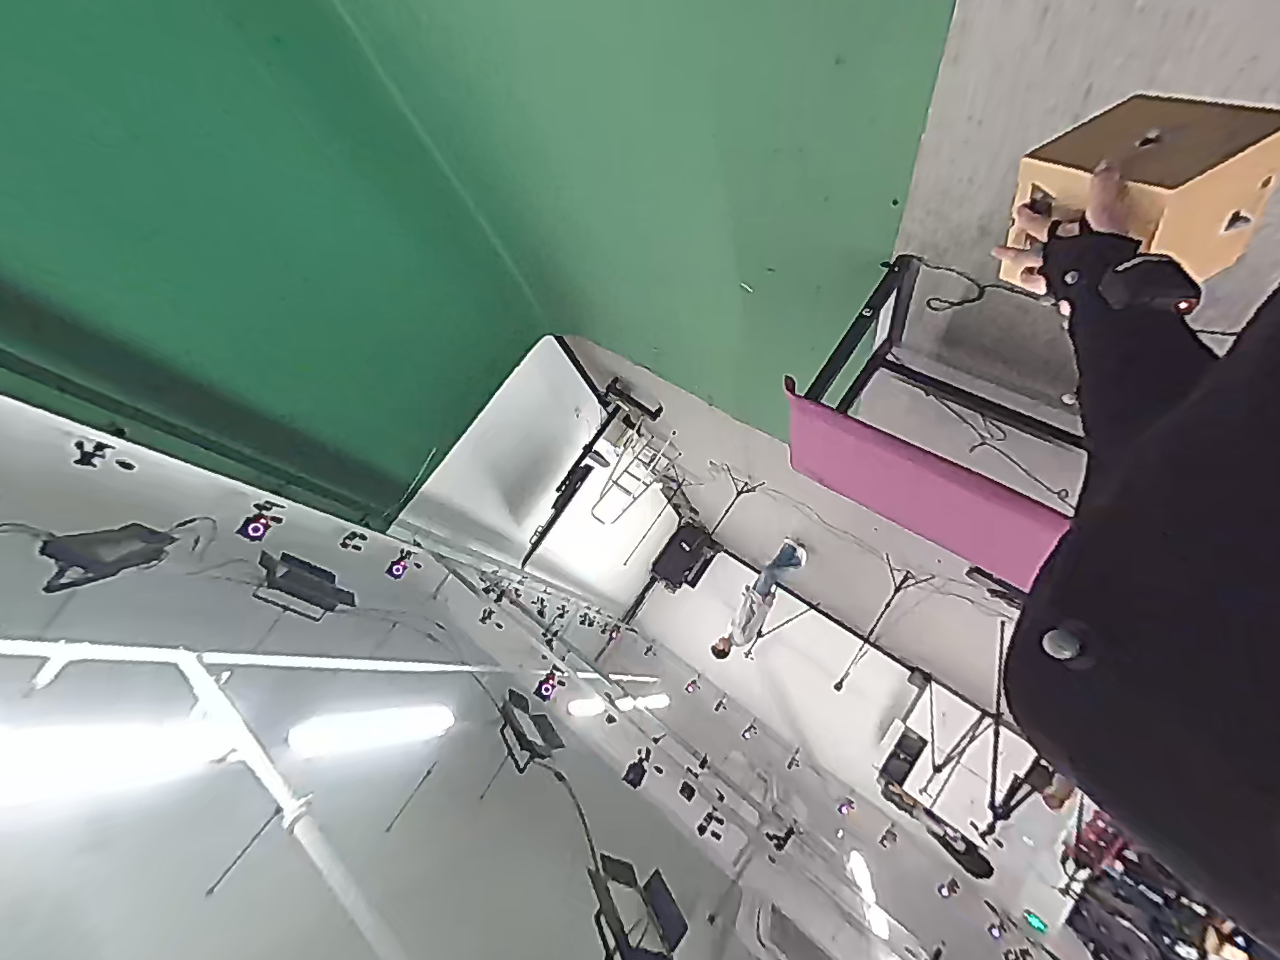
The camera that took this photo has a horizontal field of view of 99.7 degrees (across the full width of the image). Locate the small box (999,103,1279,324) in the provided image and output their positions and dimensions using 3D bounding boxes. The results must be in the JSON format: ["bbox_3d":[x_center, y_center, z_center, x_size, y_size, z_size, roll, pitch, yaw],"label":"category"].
[{"bbox_3d":[0.588,-0.326,0.655,0.179,0.176,0.168,57,176,45],"label":"small box"}]
